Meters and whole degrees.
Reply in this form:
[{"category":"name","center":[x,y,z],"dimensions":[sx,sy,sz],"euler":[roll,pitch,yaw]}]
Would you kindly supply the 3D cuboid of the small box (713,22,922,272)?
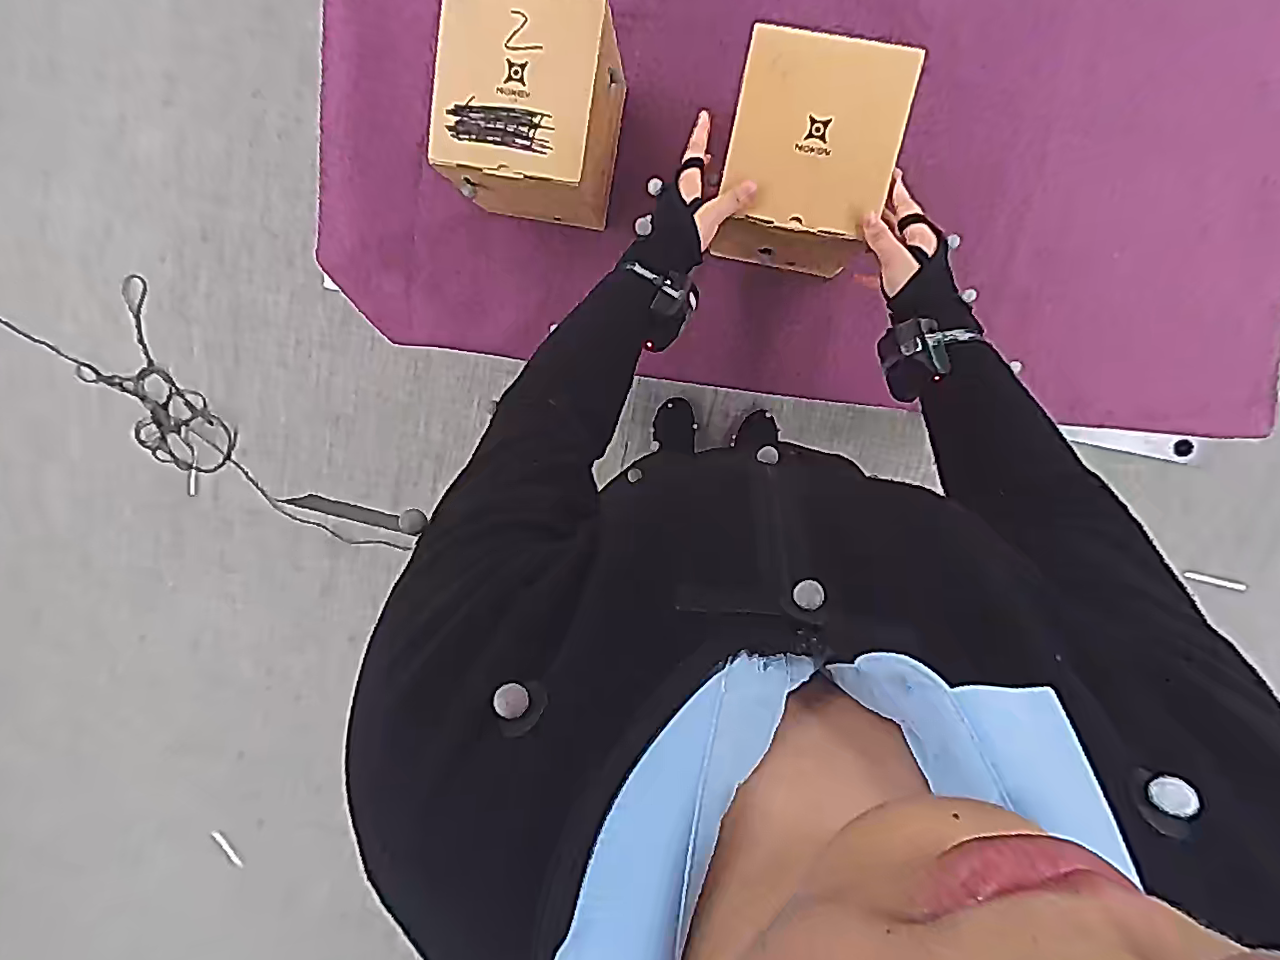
[{"category":"small box","center":[0.179,-0.353,0.607],"dimensions":[0.168,0.176,0.179],"euler":[12,101,3]}]
